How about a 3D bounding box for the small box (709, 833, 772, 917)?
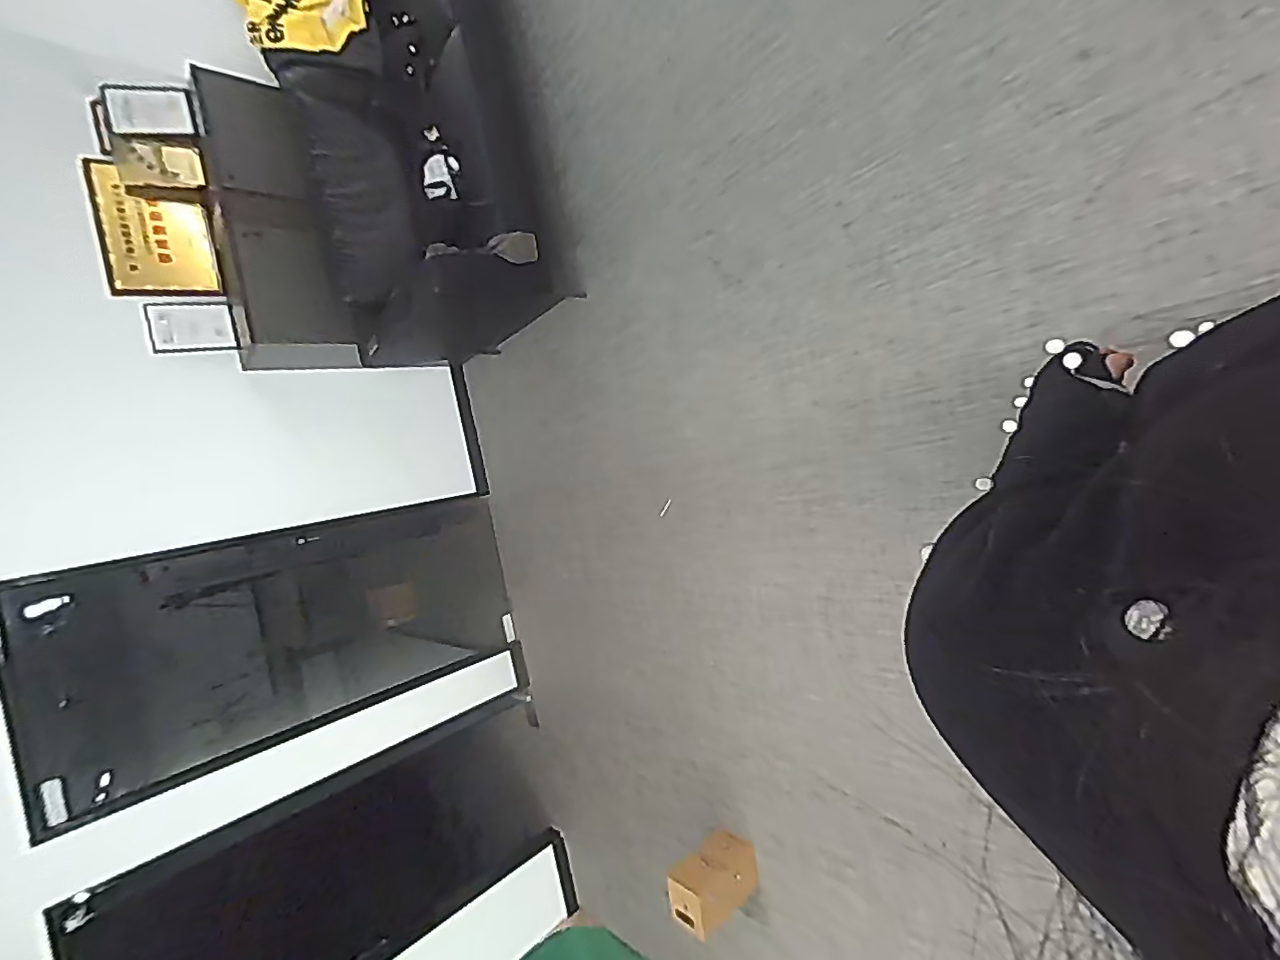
[{"bbox_3d":[0.398,1.543,2.130,0.168,0.176,0.179,-4,96,48],"label":"small box"}]
